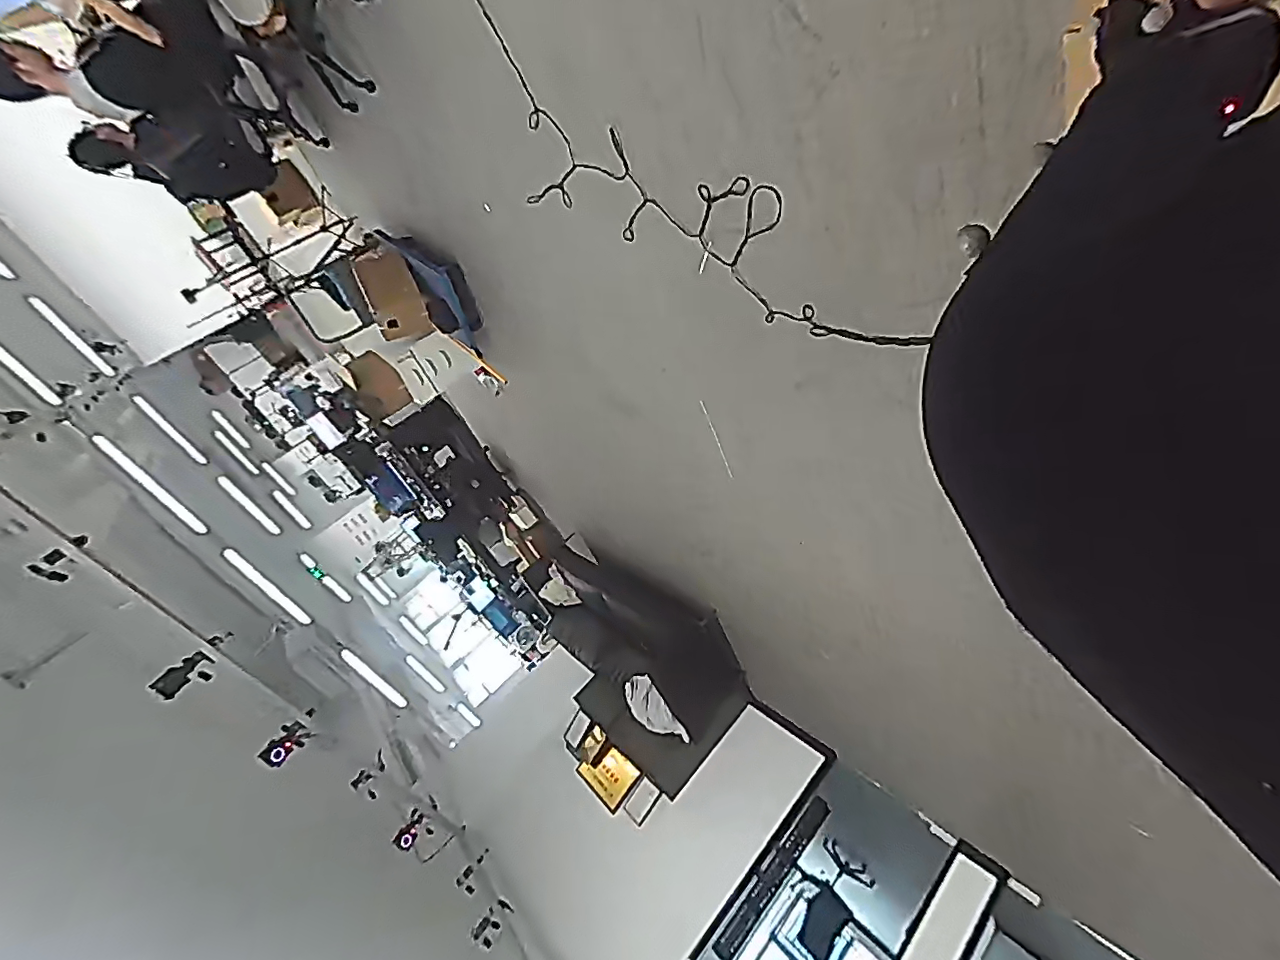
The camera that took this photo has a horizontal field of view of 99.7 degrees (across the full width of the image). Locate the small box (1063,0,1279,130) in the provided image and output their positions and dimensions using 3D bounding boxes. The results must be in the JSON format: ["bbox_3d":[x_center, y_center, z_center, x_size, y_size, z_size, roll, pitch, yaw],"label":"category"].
[{"bbox_3d":[0.520,-0.463,0.498,0.168,0.176,0.179,24,-168,38],"label":"small box"}]
